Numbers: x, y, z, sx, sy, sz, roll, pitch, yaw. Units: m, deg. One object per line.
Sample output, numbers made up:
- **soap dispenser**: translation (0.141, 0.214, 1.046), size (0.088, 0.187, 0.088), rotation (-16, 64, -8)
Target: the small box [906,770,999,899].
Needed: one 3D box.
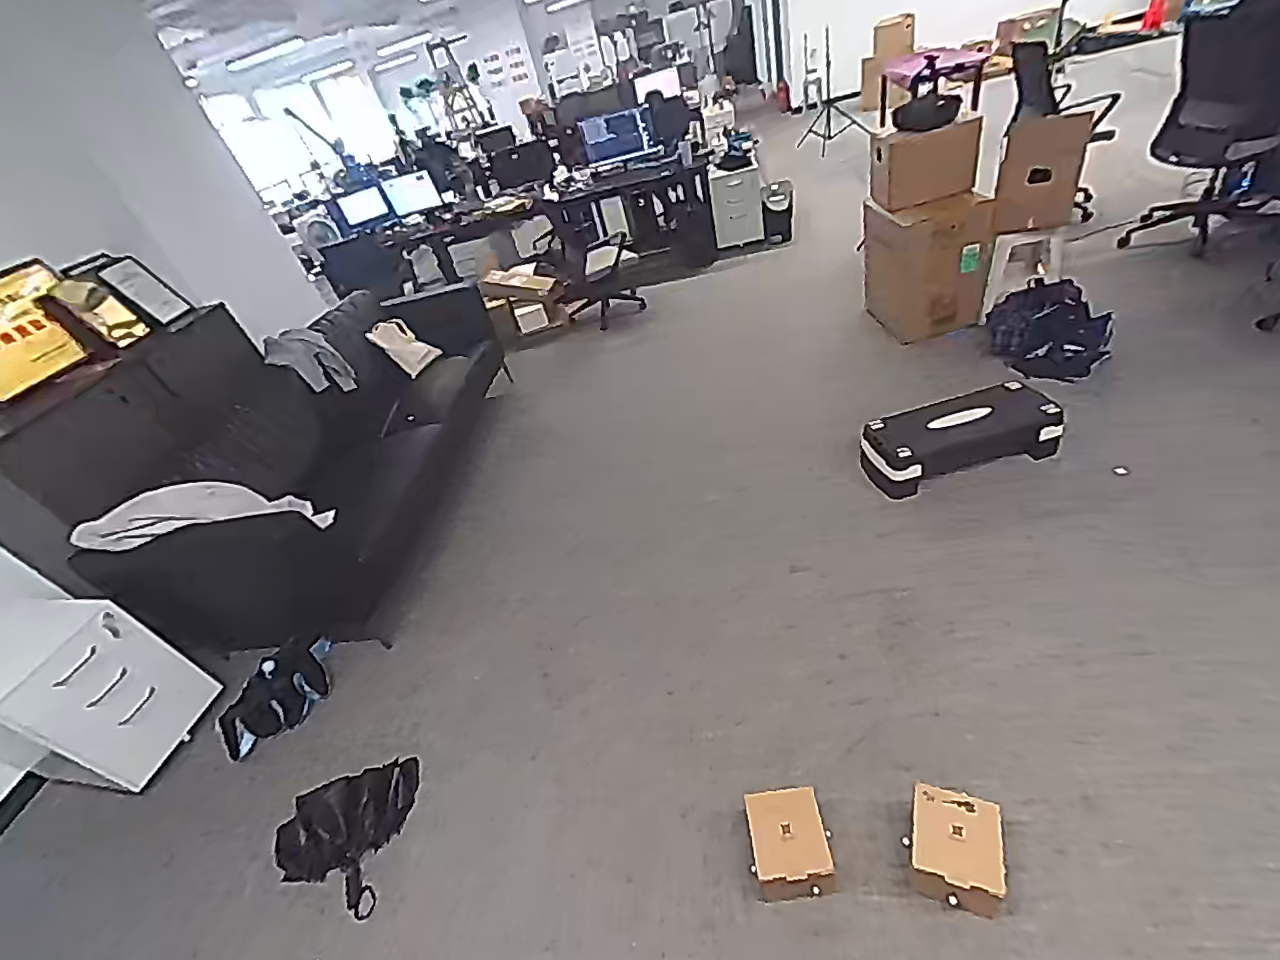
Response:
- **small box**: translation (0.685, 0.786, 1.196), size (0.168, 0.176, 0.179), rotation (4, 44, 26)

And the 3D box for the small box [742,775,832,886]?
- **small box**: translation (0.349, 0.834, 1.278), size (0.168, 0.176, 0.179), rotation (-12, 38, 6)
